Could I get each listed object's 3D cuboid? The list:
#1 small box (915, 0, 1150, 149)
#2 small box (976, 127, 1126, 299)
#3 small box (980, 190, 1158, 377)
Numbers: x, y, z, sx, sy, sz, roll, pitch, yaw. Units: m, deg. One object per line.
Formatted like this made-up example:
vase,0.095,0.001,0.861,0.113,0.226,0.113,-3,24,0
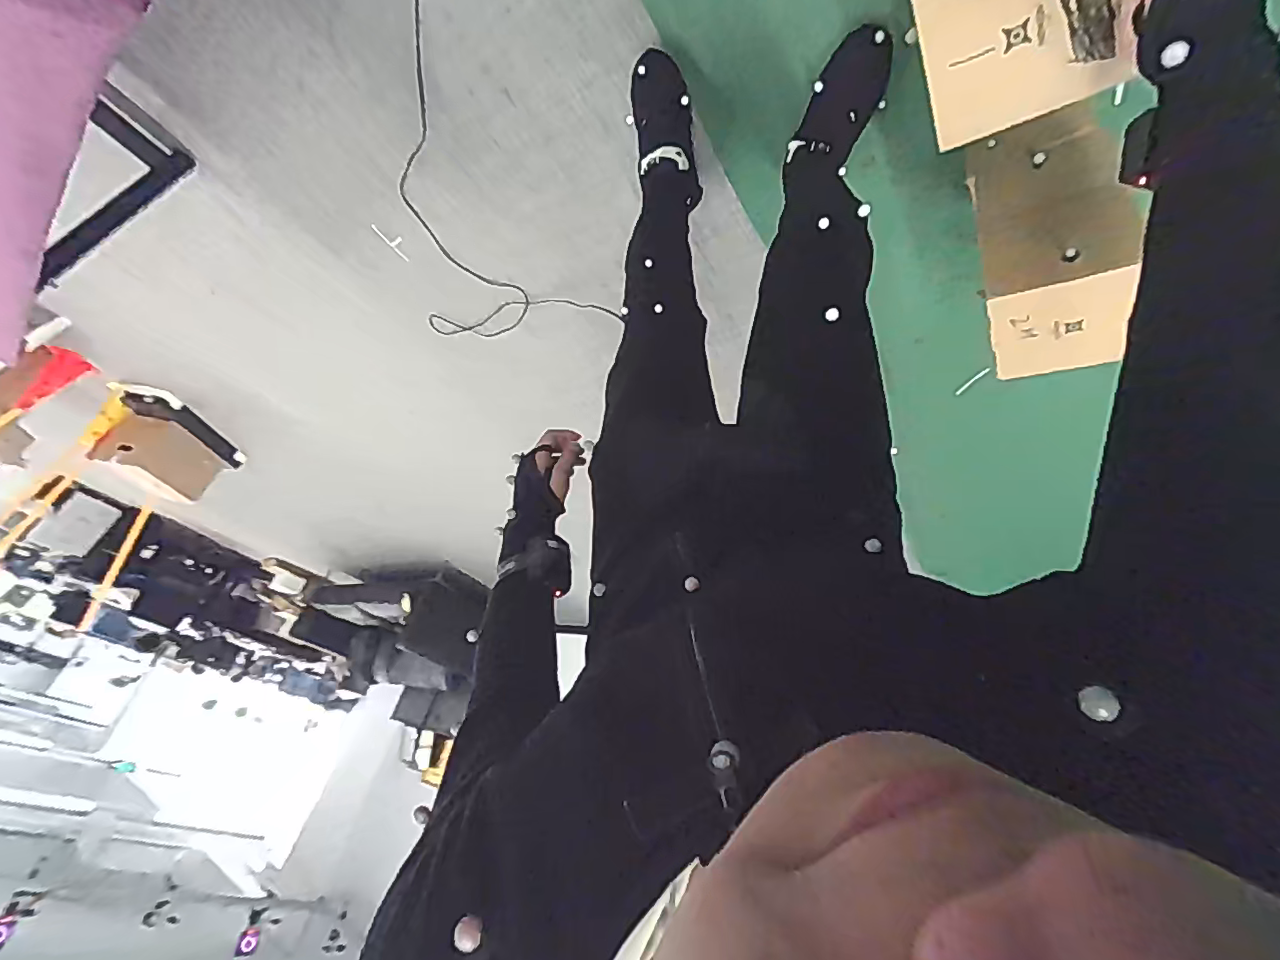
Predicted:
small box,0.388,-0.494,0.553,0.179,0.176,0.168,-7,141,35
small box,0.652,-0.415,0.868,0.179,0.176,0.168,-6,144,37
small box,0.607,-0.280,0.783,0.179,0.176,0.168,-6,143,36
